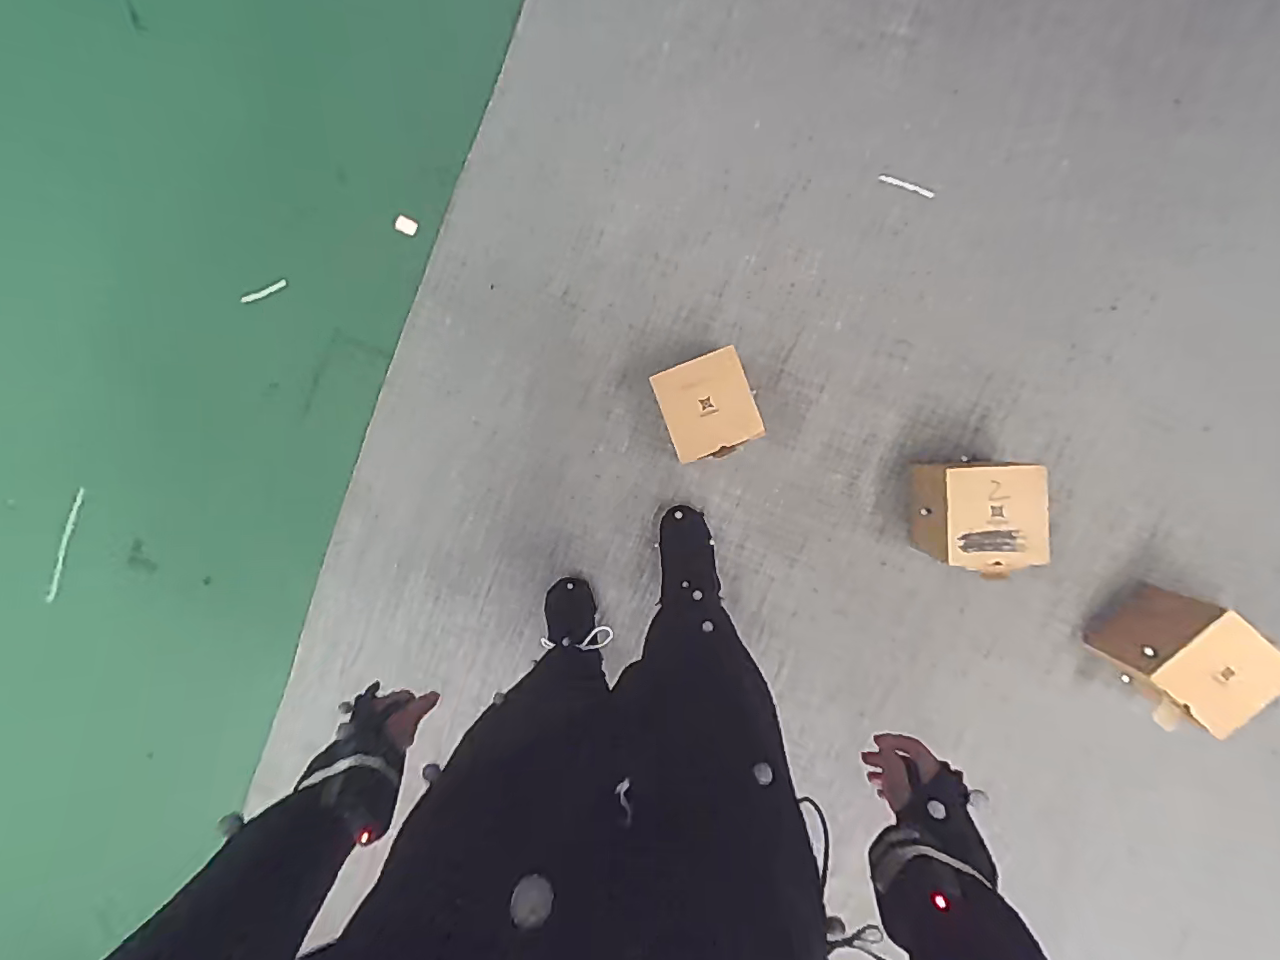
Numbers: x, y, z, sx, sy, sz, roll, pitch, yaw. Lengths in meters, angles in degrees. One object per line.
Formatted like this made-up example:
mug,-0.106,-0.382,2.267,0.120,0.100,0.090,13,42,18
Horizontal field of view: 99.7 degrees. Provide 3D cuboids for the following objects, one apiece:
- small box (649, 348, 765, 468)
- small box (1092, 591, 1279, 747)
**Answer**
small box,0.130,-0.134,1.052,0.168,0.176,0.179,-21,91,7
small box,0.999,0.332,0.989,0.168,0.176,0.179,43,98,1
